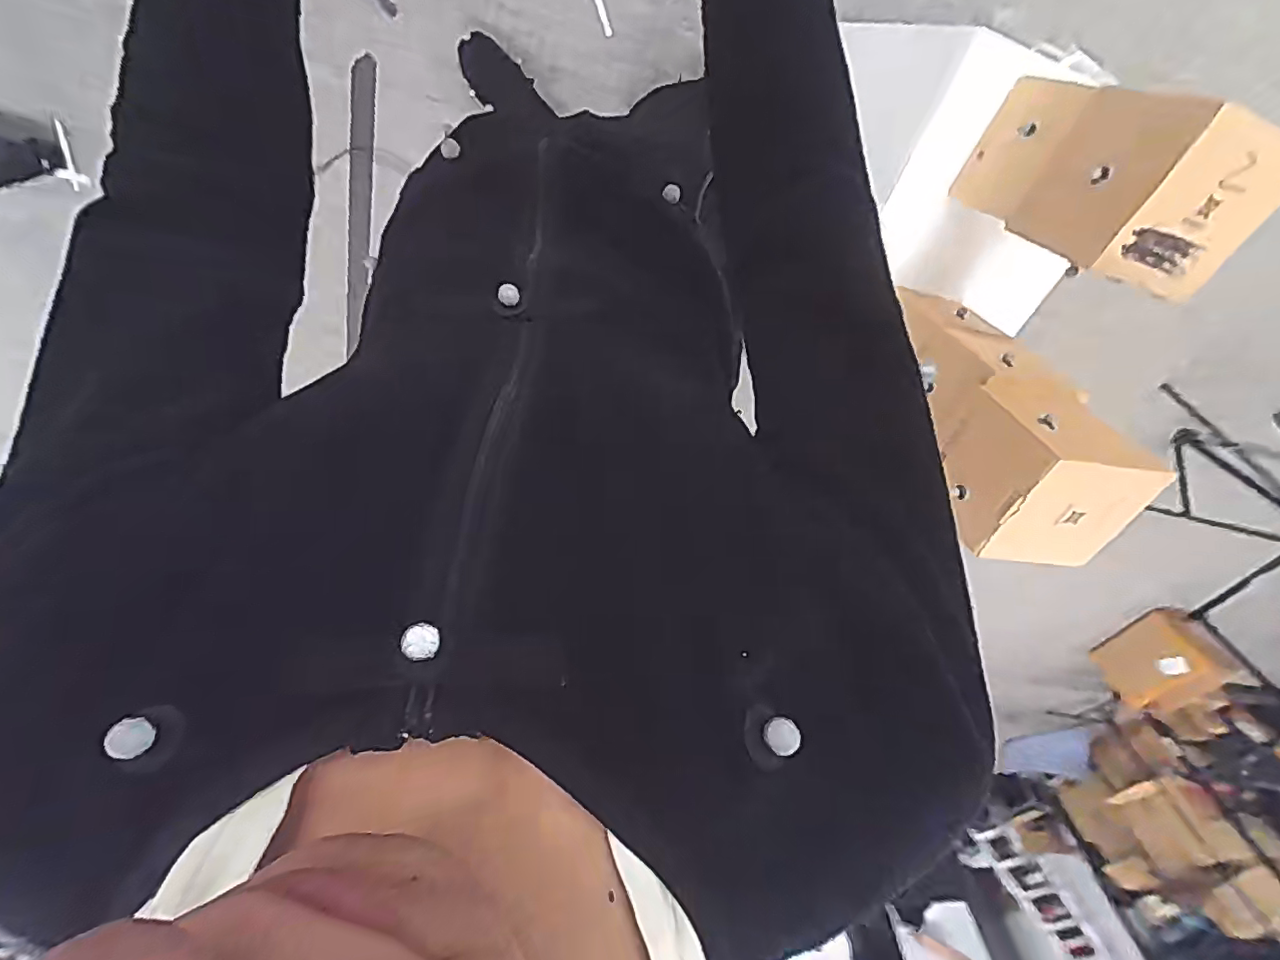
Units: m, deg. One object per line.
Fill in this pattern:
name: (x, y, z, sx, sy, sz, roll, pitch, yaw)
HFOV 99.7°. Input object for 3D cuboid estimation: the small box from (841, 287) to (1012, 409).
small box: (0.500, -0.227, 0.972, 0.179, 0.176, 0.168, 8, 128, -15)

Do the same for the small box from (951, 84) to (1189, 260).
small box: (0.607, -0.454, 0.792, 0.179, 0.176, 0.168, 10, 129, -17)

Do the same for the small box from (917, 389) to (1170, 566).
small box: (0.519, -0.006, 0.730, 0.179, 0.176, 0.168, 5, 130, -12)

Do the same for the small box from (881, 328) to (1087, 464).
small box: (0.518, -0.120, 0.847, 0.179, 0.176, 0.168, 9, 129, -15)
